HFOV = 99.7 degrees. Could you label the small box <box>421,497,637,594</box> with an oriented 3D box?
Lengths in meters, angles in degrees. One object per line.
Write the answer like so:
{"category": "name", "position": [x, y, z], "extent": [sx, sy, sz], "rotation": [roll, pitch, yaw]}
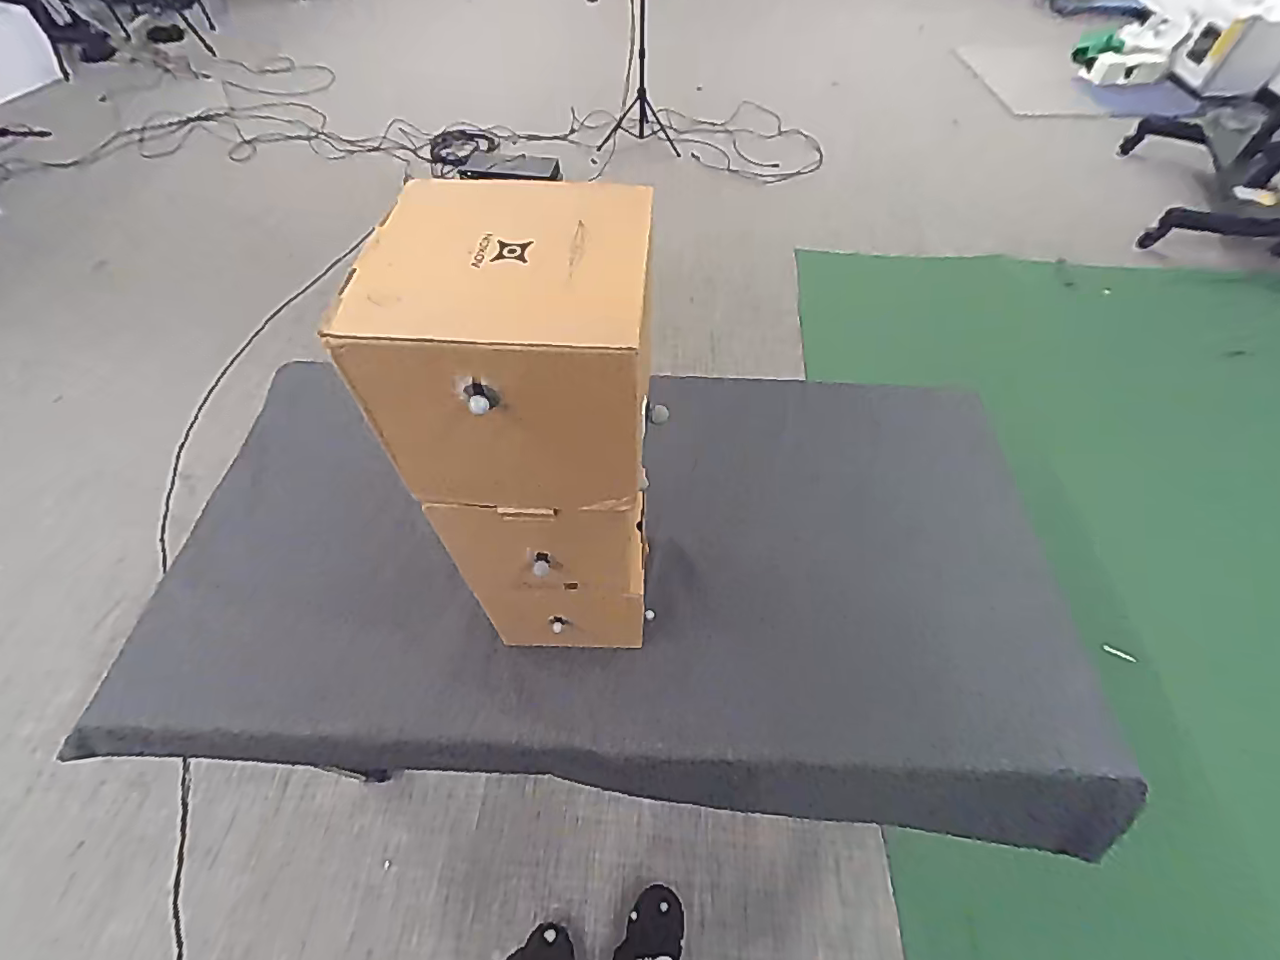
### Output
{"category": "small box", "position": [-0.087, 0.002, 0.530], "extent": [0.168, 0.176, 0.179], "rotation": [1, 55, 1]}

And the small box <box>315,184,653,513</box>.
{"category": "small box", "position": [-0.083, -0.088, 0.393], "extent": [0.179, 0.176, 0.168], "rotation": [3, 56, 1]}

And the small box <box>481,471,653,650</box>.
{"category": "small box", "position": [-0.079, 0.101, 0.659], "extent": [0.179, 0.176, 0.168], "rotation": [-1, 55, -2]}
